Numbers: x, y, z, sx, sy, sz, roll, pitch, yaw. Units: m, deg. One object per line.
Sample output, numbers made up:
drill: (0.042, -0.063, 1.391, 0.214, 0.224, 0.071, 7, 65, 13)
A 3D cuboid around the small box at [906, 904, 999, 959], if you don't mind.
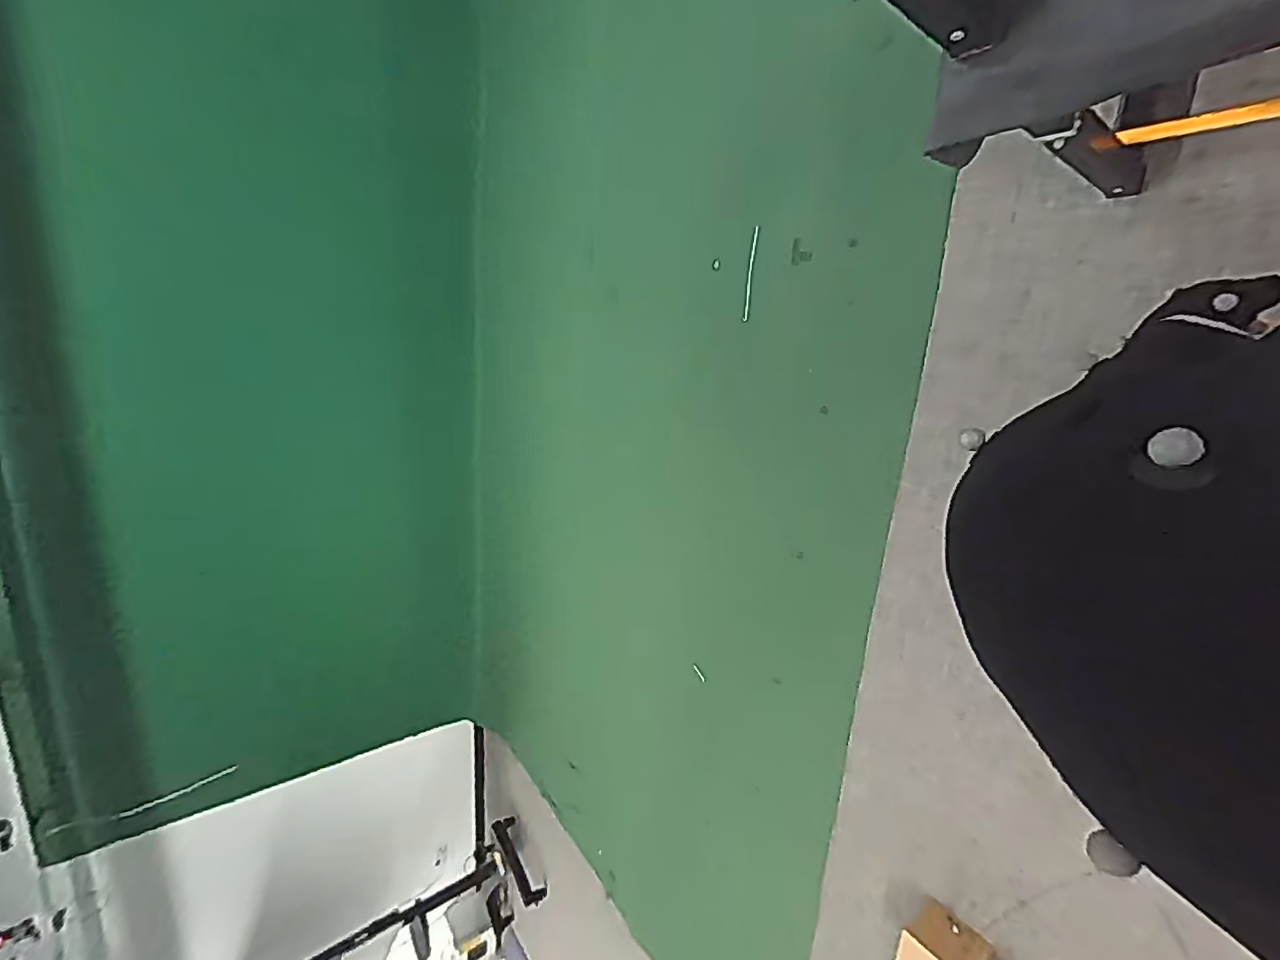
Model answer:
small box: (0.852, 1.335, 1.483, 0.168, 0.176, 0.179, 21, 110, 50)
